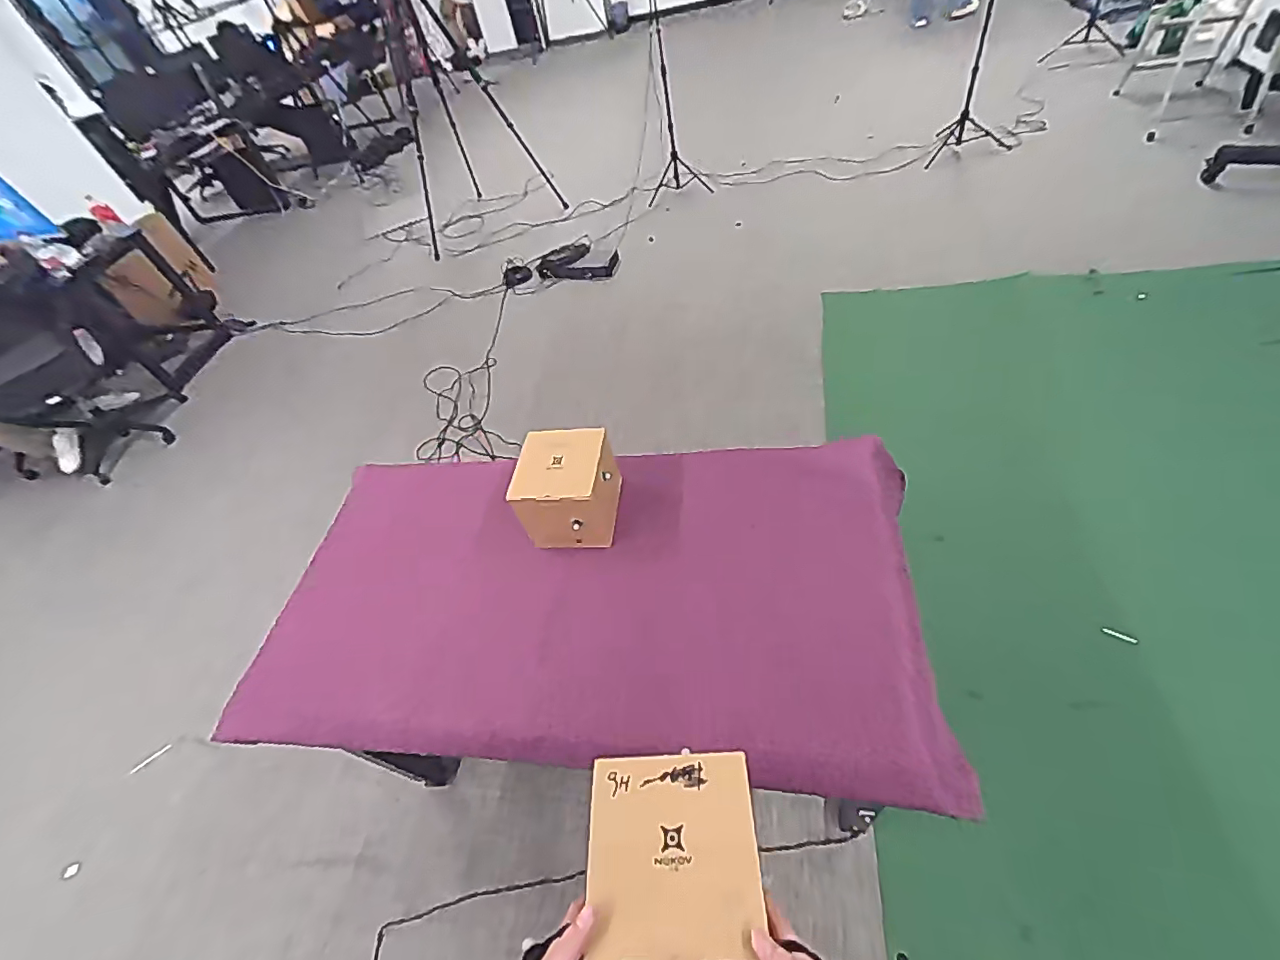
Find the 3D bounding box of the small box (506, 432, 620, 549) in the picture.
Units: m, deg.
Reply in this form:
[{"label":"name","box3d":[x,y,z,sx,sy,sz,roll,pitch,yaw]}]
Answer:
[{"label":"small box","box3d":[-0.143,0.026,1.084,0.168,0.176,0.179,-2,50,13]}]

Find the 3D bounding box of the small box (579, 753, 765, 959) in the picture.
[{"label":"small box","box3d":[0.039,0.416,0.575,0.168,0.176,0.179,-6,42,5]}]
